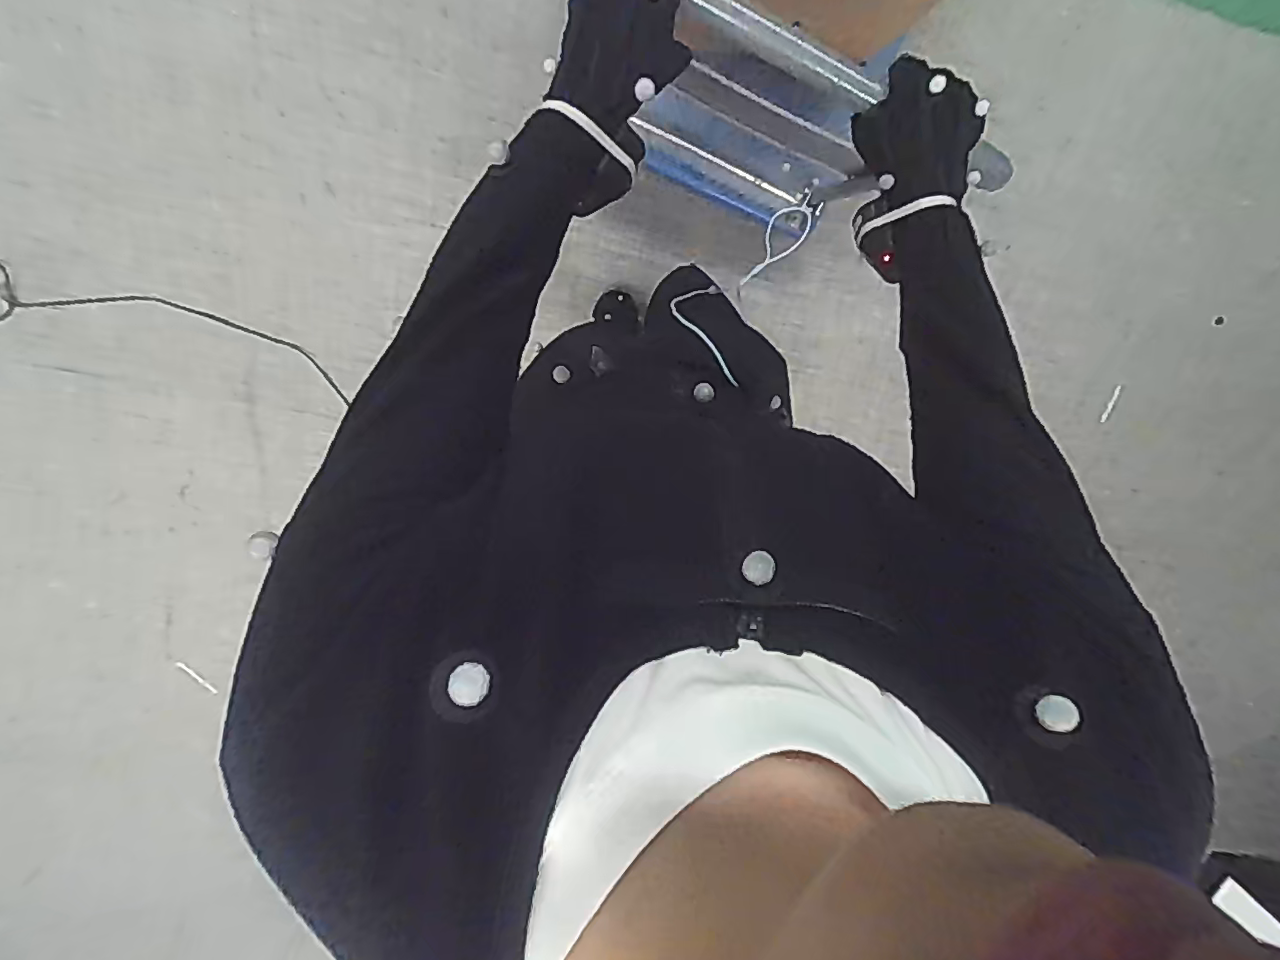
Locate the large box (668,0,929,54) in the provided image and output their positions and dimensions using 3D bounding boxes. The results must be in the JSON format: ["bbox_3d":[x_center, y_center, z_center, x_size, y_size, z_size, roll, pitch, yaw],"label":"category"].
[{"bbox_3d":[0.262,-0.921,0.860,0.408,0.320,0.320,0,109,-3],"label":"large box"}]
